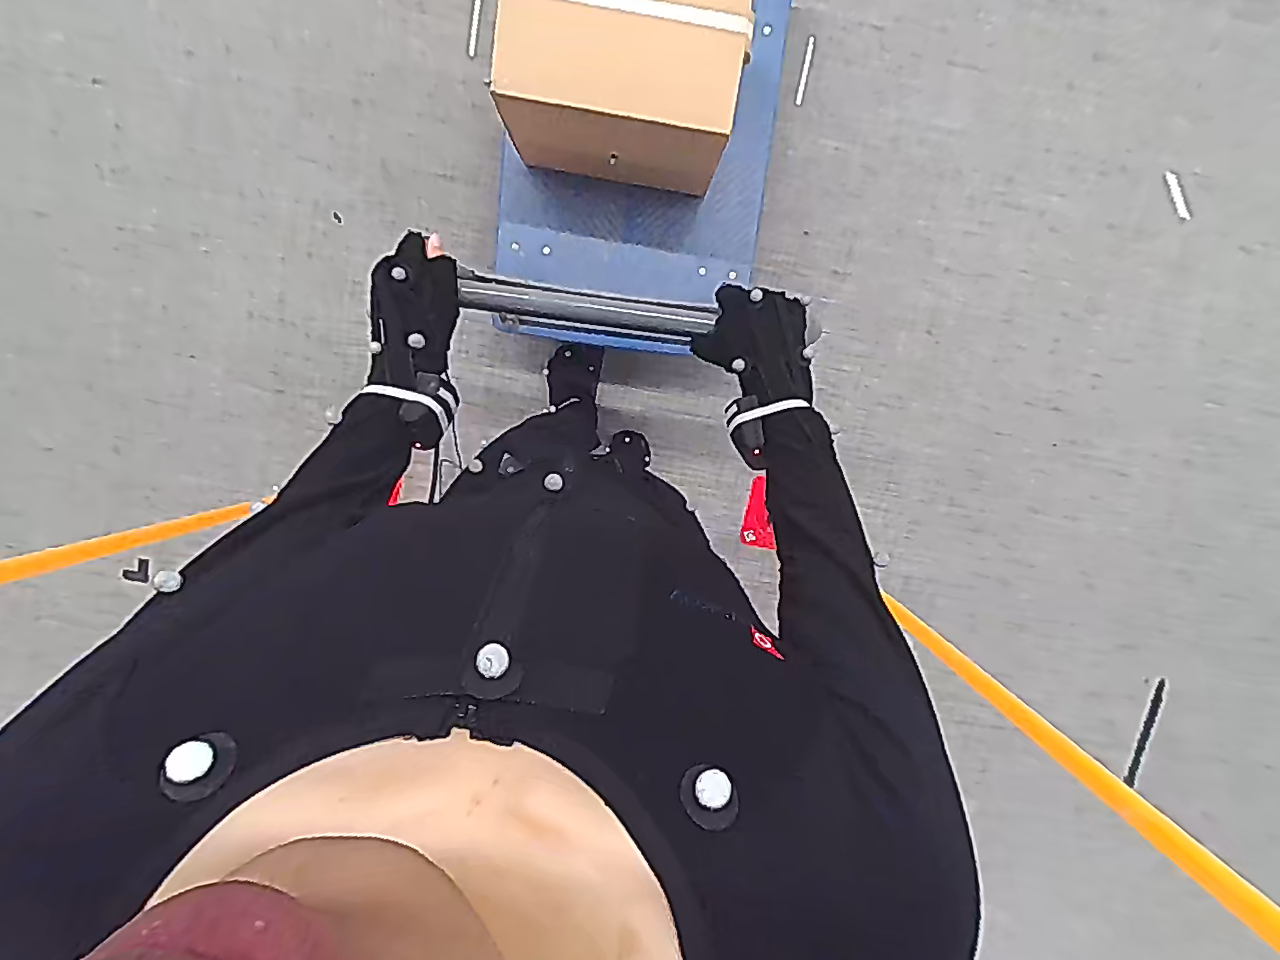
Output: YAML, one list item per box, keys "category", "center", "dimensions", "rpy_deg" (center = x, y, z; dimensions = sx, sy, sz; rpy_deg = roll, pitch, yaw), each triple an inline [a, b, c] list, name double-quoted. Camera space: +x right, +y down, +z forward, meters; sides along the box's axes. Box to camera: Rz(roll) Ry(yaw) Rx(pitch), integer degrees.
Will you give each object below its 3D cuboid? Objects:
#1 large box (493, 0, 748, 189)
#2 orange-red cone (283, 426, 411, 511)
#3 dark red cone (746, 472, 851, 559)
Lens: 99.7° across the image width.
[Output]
- category: "large box"
  center: [-0.027, -0.782, 1.016]
  dimensions: [0.408, 0.320, 0.320]
  rpy_deg: [8, 100, -2]
- category: "orange-red cone"
  center: [-0.723, -0.004, 1.282]
  dimensions: [0.198, 0.360, 0.199]
  rpy_deg: [18, 97, -5]
- category: "dark red cone"
  center: [0.405, 0.114, 1.301]
  dimensions: [0.201, 0.394, 0.202]
  rpy_deg: [10, 100, -5]
